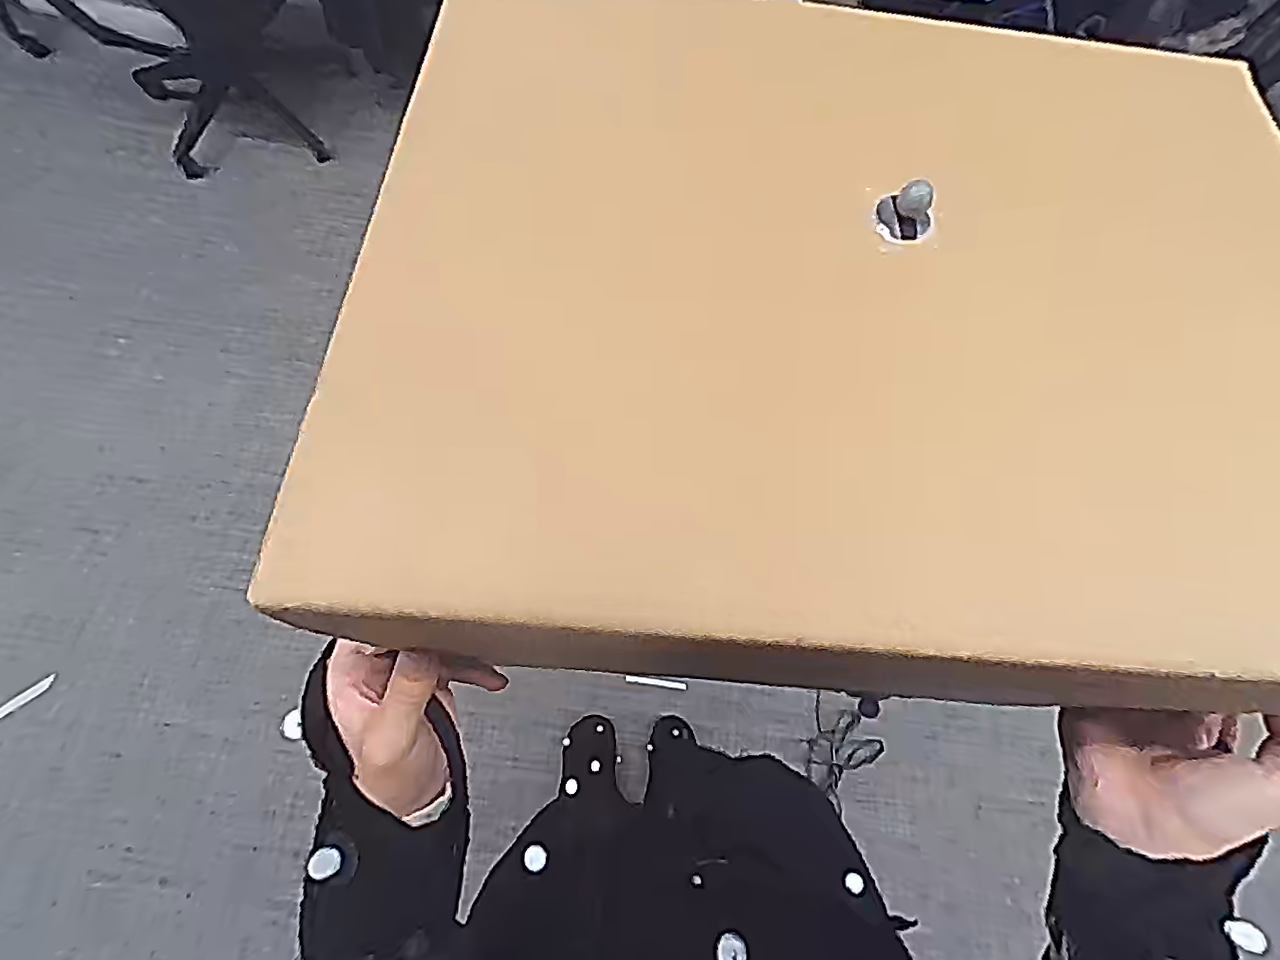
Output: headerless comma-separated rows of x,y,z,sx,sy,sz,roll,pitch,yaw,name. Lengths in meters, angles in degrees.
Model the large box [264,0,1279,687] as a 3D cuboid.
0.085,-0.046,0.351,0.408,0.320,0.320,4,70,-2,large box
